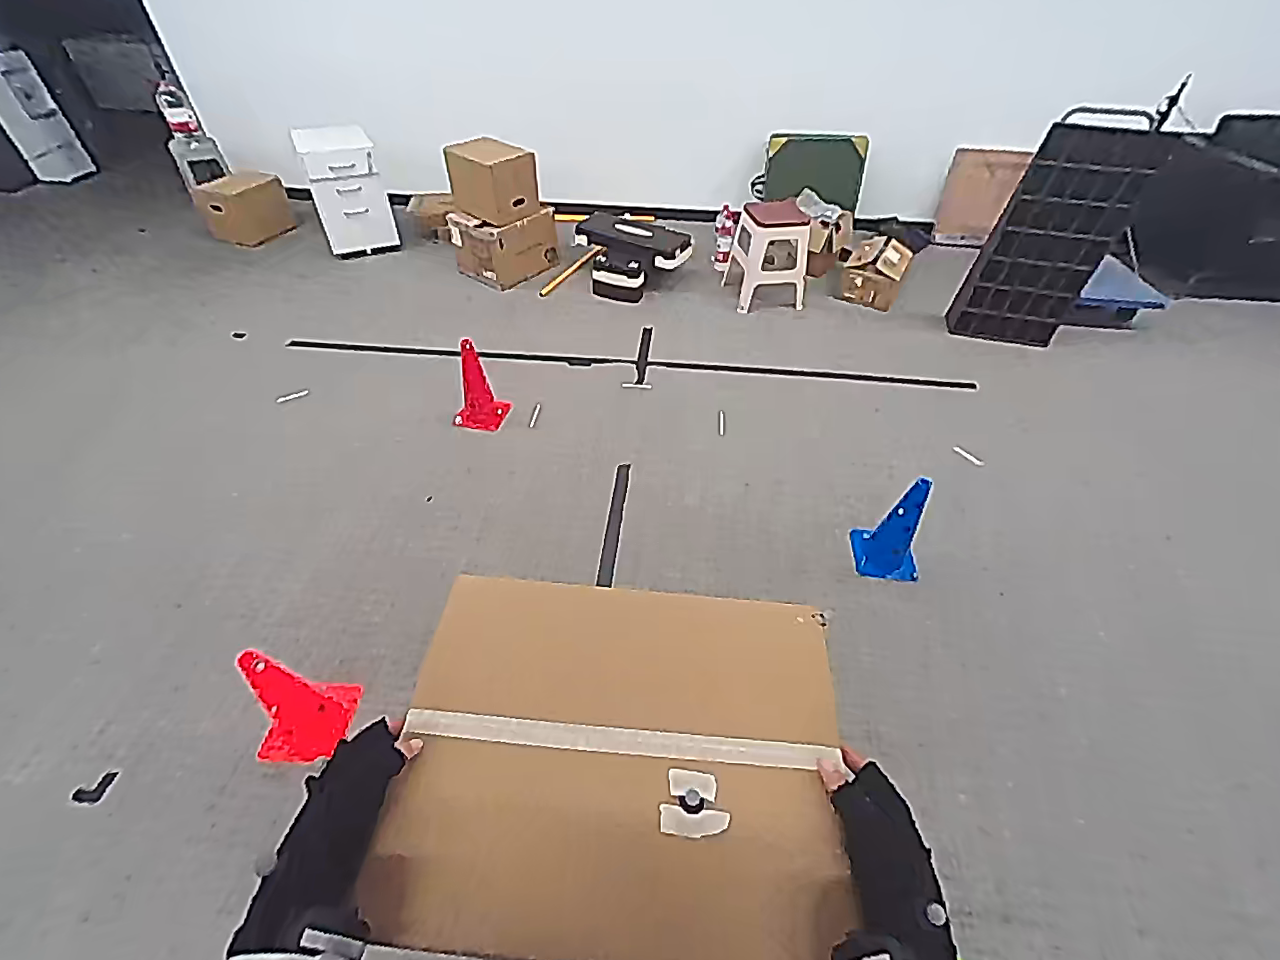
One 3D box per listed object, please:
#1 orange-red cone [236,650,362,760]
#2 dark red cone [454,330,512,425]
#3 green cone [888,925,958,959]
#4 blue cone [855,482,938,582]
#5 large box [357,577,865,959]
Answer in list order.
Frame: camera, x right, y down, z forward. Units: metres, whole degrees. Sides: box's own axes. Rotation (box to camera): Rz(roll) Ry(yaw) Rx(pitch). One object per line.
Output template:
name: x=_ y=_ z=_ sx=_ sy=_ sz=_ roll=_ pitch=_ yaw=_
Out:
orange-red cone: x=-0.850 y=0.506 z=1.288 sx=0.198 sy=0.360 sz=0.199 roll=2 pitch=47 yaw=2
dark red cone: x=-0.659 y=-0.419 z=2.182 sx=0.201 sy=0.394 sz=0.202 roll=10 pitch=46 yaw=6
green cone: x=0.590 y=0.912 z=0.936 sx=0.202 sy=0.368 sz=0.200 roll=-22 pitch=51 yaw=-24
blue cone: x=0.846 y=0.148 z=1.731 sx=0.192 sy=0.380 sz=0.193 roll=8 pitch=46 yaw=4
large box: x=-0.020 y=0.338 z=0.623 sx=0.408 sy=0.320 sz=0.320 roll=5 pitch=50 yaw=2
